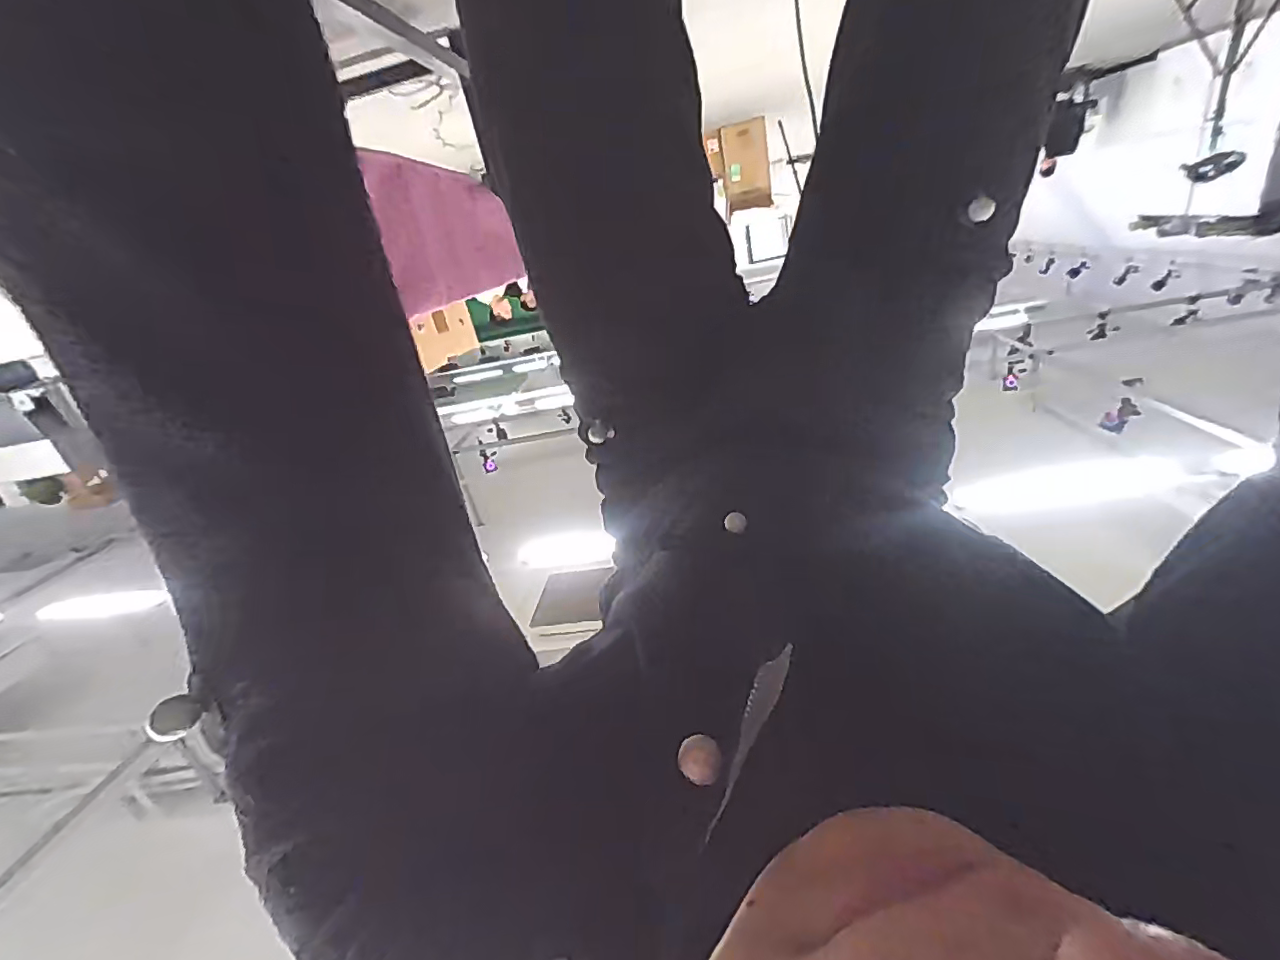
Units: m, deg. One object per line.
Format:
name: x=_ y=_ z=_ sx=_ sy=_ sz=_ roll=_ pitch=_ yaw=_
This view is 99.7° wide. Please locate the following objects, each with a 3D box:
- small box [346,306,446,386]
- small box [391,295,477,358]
small box: x=-0.674 y=-0.373 z=1.487 sx=0.179 sy=0.176 sz=0.168 roll=-7 pitch=-155 yaw=14
small box: x=-0.647 y=-0.479 z=1.703 sx=0.179 sy=0.176 sz=0.168 roll=-8 pitch=-155 yaw=11
